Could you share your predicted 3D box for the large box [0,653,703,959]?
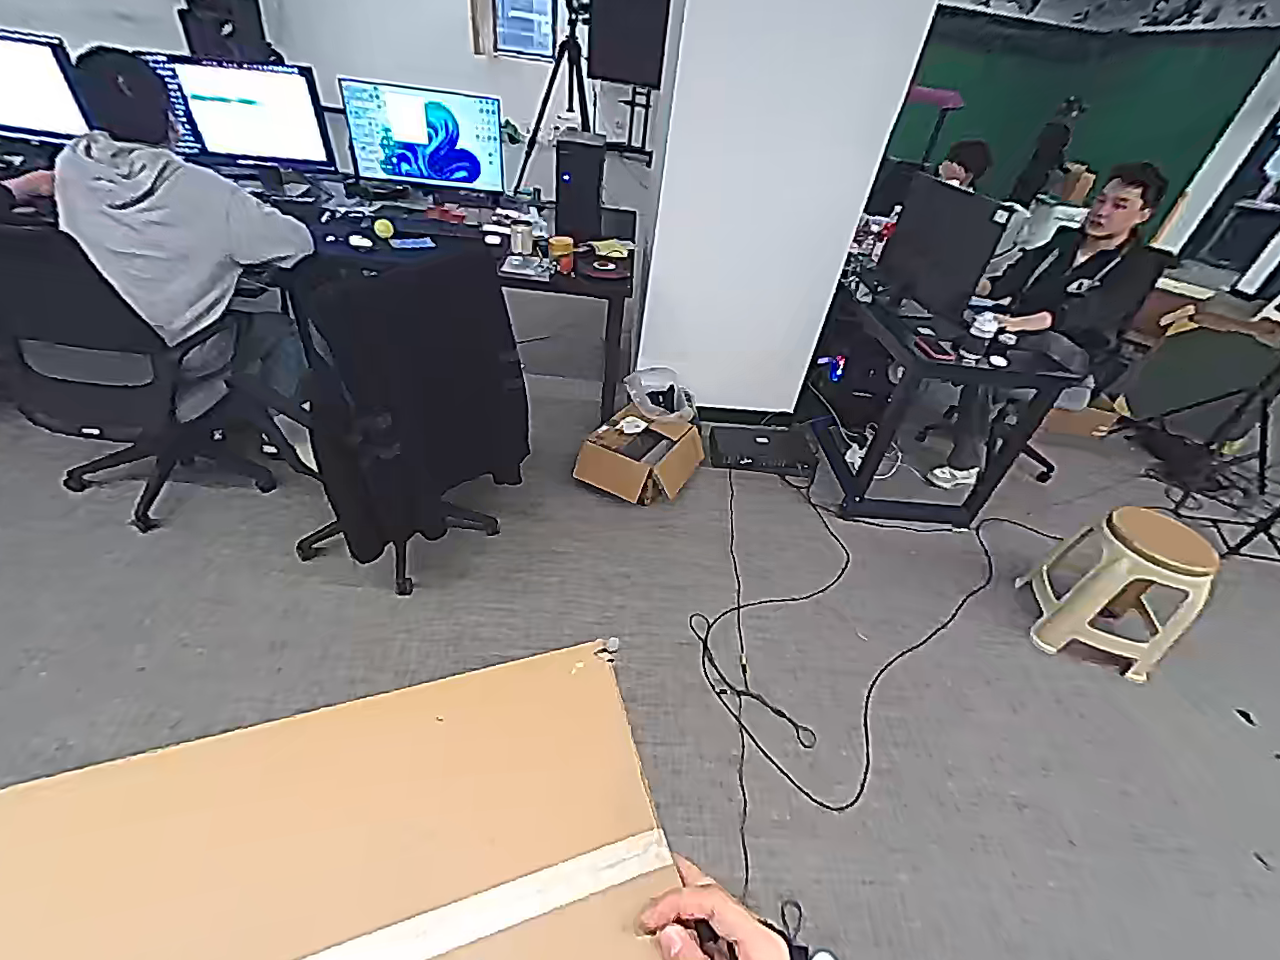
[{"bbox_3d":[-0.182,0.389,0.398,0.408,0.320,0.320,-9,45,-17],"label":"large box"}]
